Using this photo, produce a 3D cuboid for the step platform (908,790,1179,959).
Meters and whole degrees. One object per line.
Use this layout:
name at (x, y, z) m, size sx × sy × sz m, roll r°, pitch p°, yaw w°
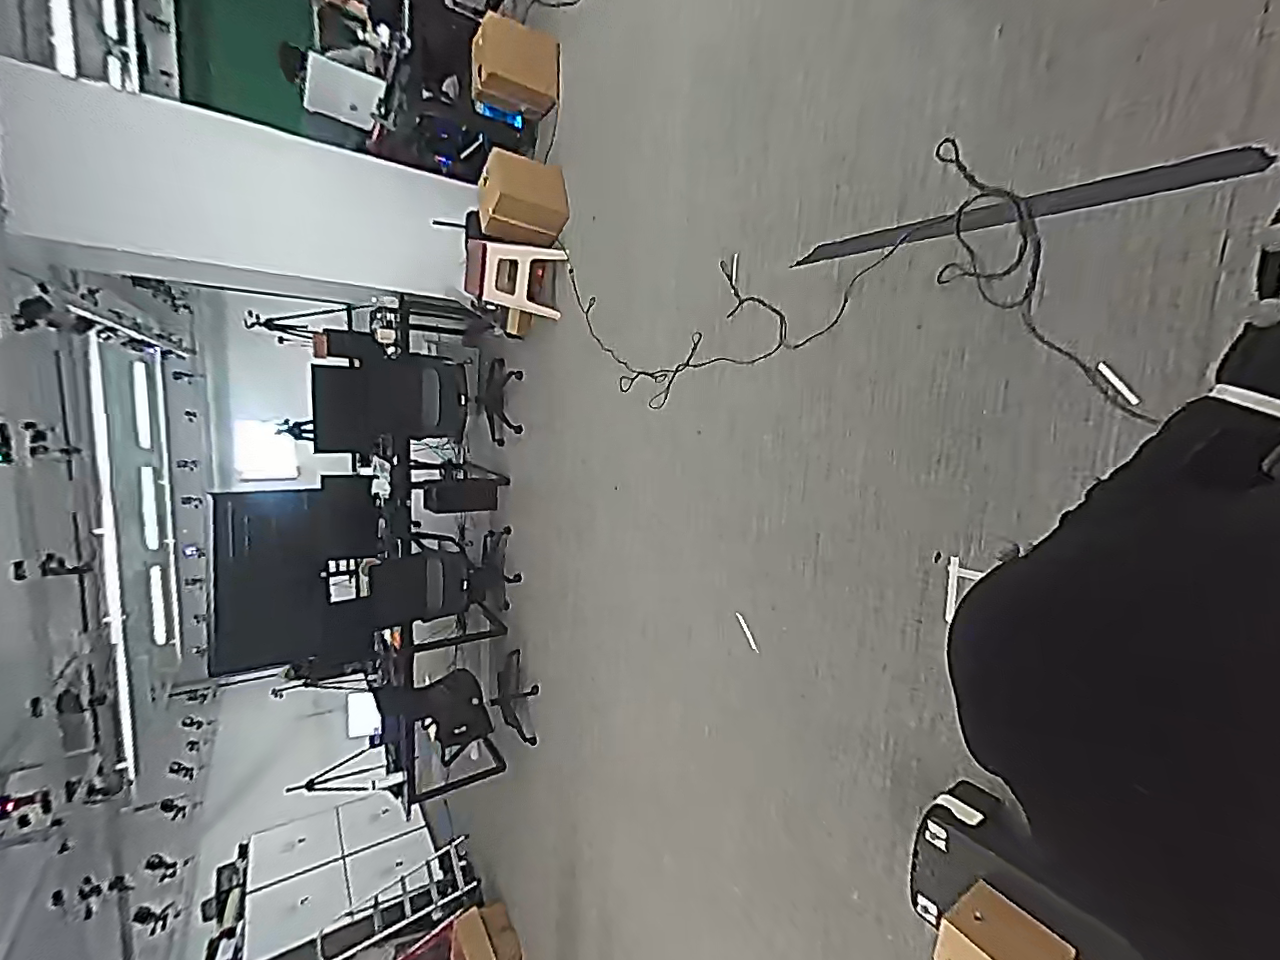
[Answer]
step platform at (0.912, 0.972, 1.095) m, size 0.684 × 0.204 × 0.286 m, roll 13°, pitch 104°, yaw 54°
